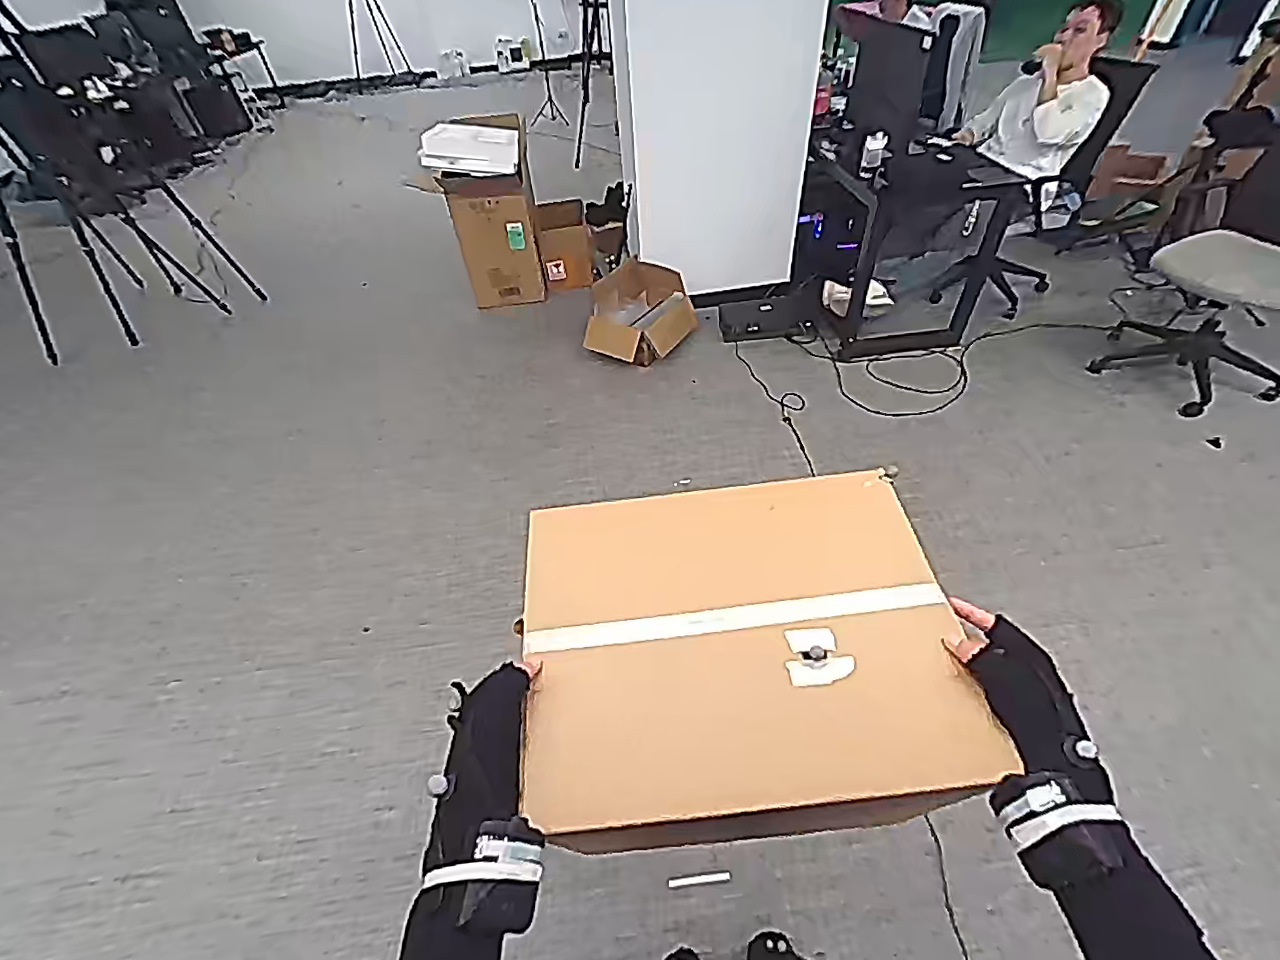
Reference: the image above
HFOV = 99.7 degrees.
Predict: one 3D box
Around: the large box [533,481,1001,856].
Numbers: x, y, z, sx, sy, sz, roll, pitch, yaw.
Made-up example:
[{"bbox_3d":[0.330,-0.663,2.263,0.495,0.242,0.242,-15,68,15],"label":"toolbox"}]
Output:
[{"bbox_3d":[0.101,0.236,0.655,0.408,0.320,0.320,-7,53,0],"label":"large box"}]
